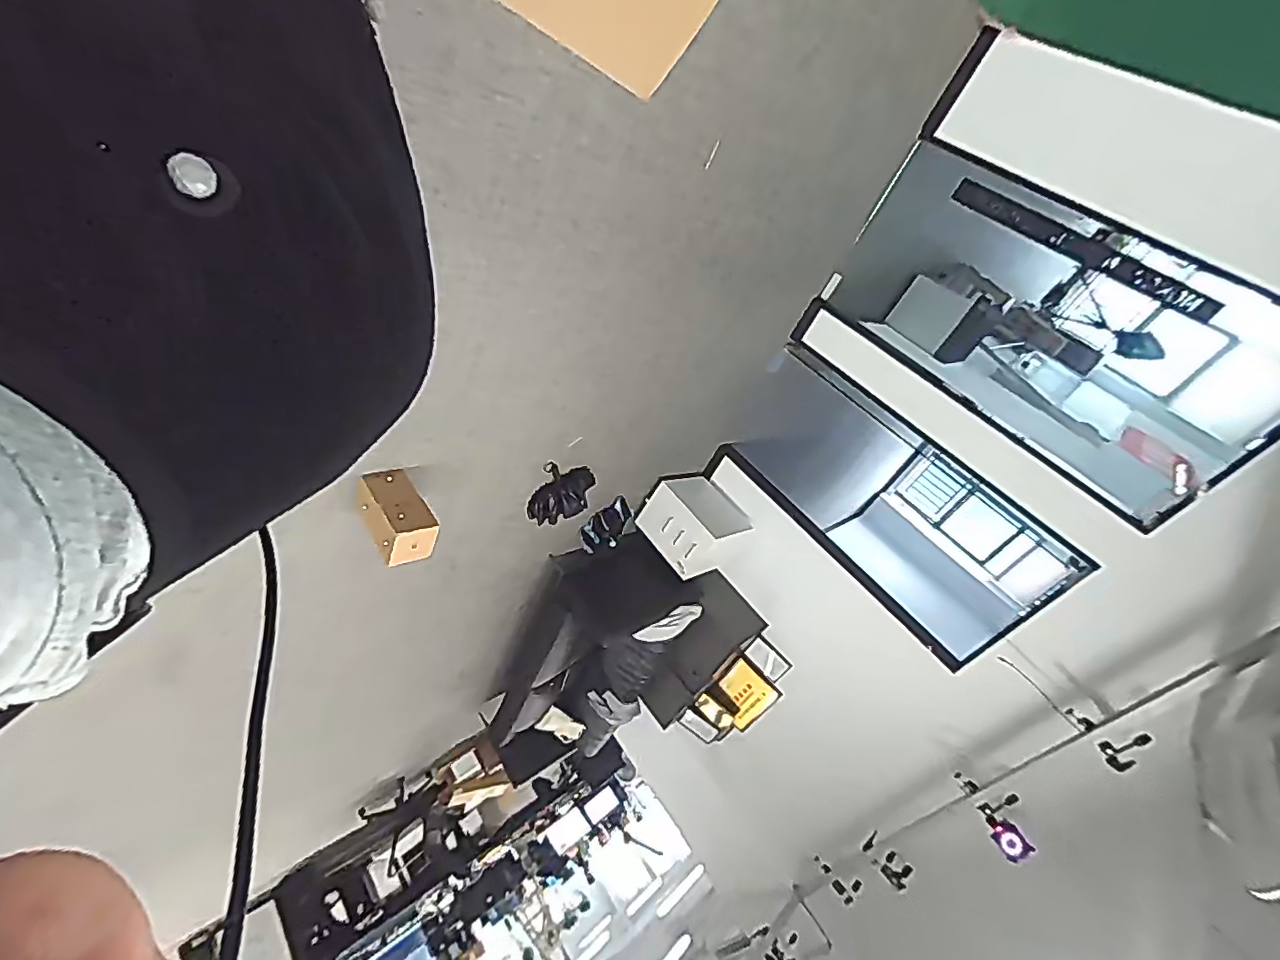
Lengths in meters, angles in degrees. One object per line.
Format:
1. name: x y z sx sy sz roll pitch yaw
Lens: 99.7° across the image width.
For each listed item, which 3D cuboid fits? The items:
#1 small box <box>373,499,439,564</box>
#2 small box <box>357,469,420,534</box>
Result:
1. small box: -0.896 0.187 2.064 0.168 0.176 0.179 -13 144 -45
2. small box: -0.998 0.082 2.133 0.168 0.176 0.179 -15 143 -45
